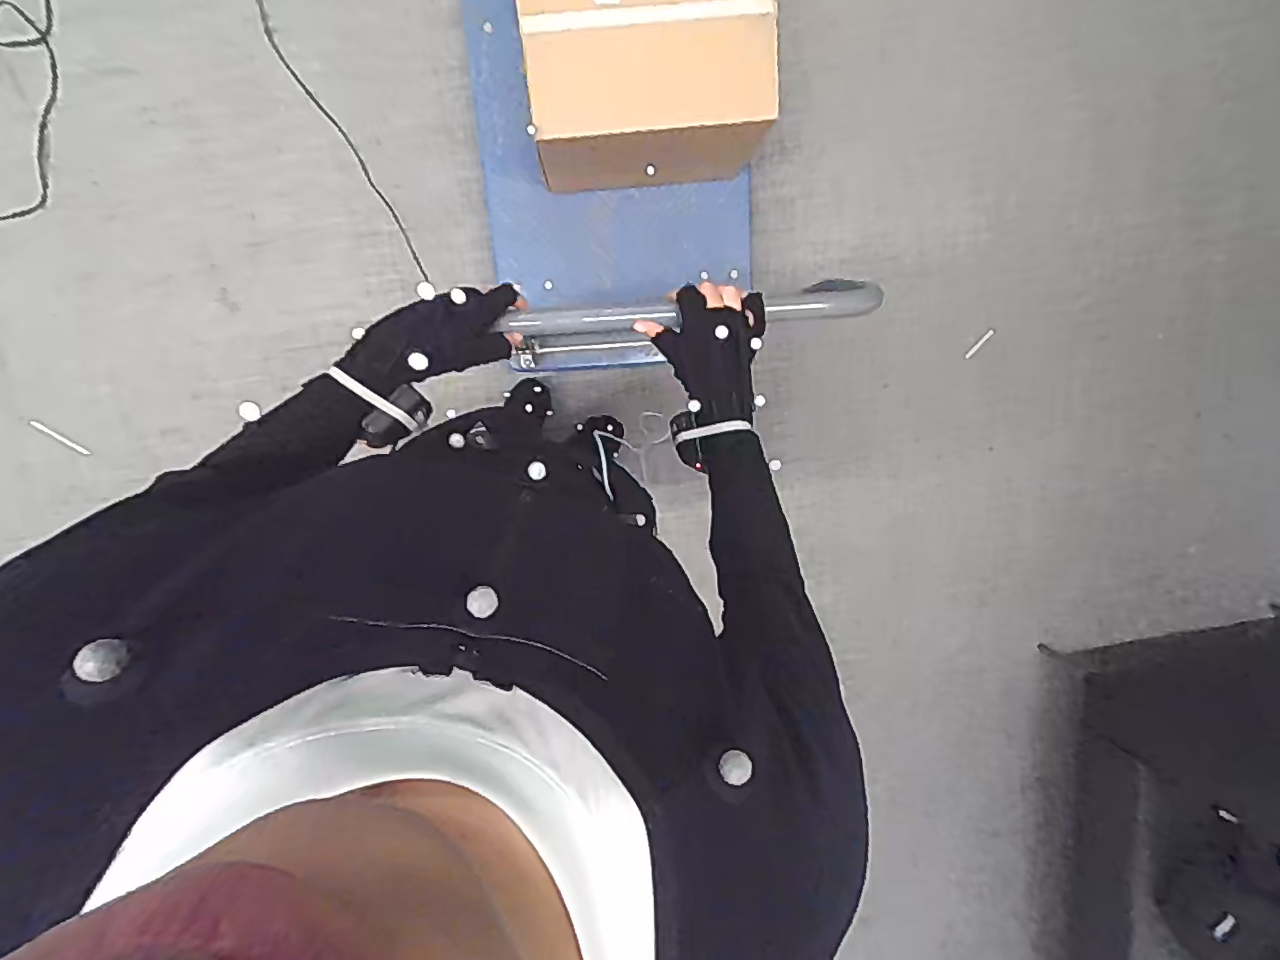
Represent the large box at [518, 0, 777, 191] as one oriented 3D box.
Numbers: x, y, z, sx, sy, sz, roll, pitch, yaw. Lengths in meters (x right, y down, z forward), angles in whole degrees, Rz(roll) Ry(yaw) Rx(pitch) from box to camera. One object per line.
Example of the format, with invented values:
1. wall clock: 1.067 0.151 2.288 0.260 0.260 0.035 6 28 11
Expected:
1. large box: 0.006 -0.755 0.993 0.408 0.320 0.320 -6 103 -2
